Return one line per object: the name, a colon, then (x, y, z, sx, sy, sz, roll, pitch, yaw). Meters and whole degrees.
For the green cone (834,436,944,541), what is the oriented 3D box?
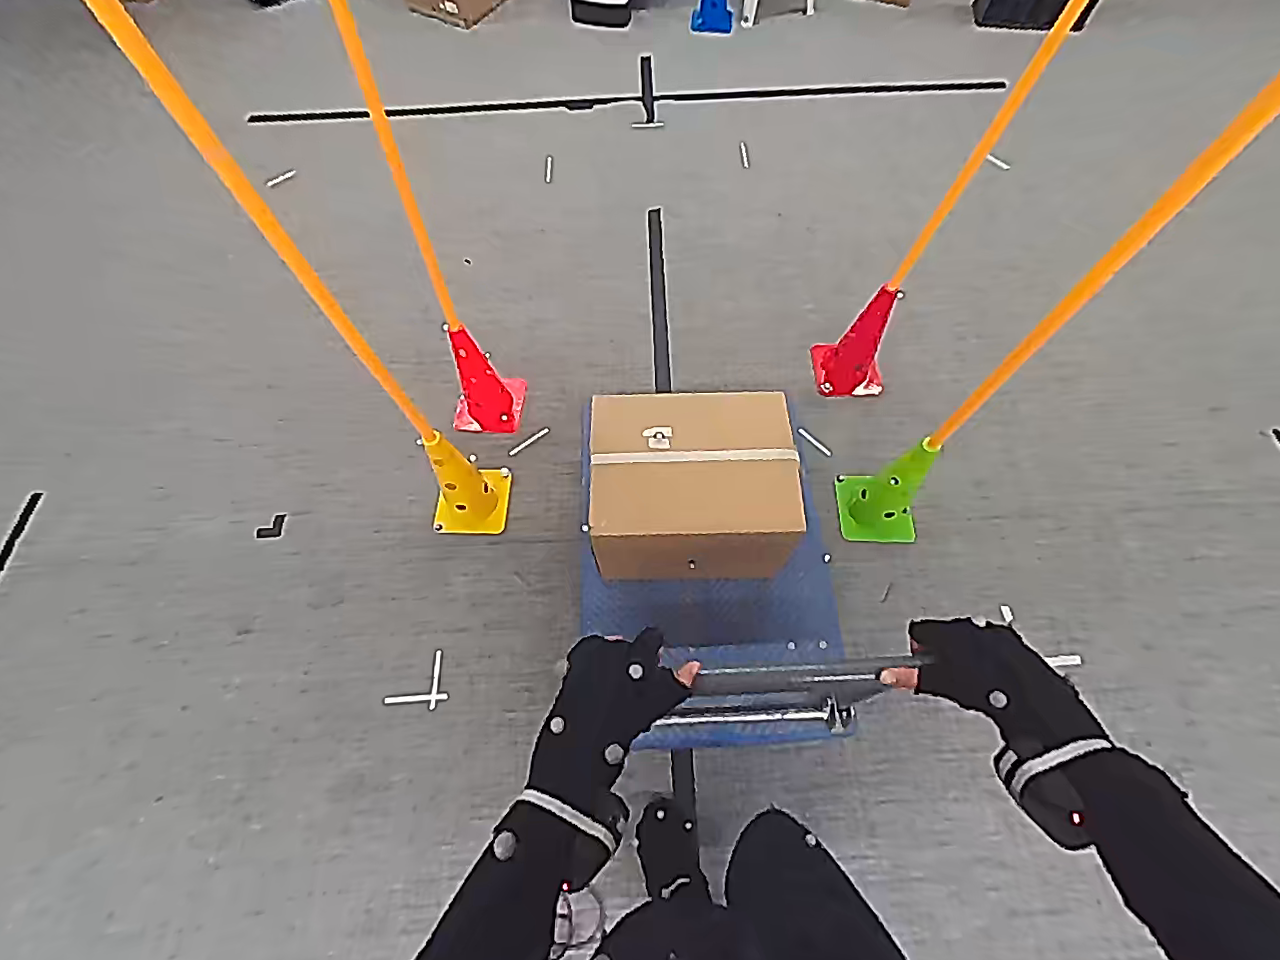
green cone: (0.655, 0.000, 1.369, 0.202, 0.368, 0.200, 1, 64, 1)

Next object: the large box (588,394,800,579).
large box: (0.104, 0.029, 1.206, 0.408, 0.320, 0.320, -2, 64, 1)

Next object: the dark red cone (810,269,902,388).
dark red cone: (0.654, -0.443, 1.568, 0.201, 0.394, 0.202, -2, 64, -2)

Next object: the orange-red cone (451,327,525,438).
orange-red cone: (-0.471, -0.302, 1.546, 0.198, 0.360, 0.199, 4, 63, 2)
